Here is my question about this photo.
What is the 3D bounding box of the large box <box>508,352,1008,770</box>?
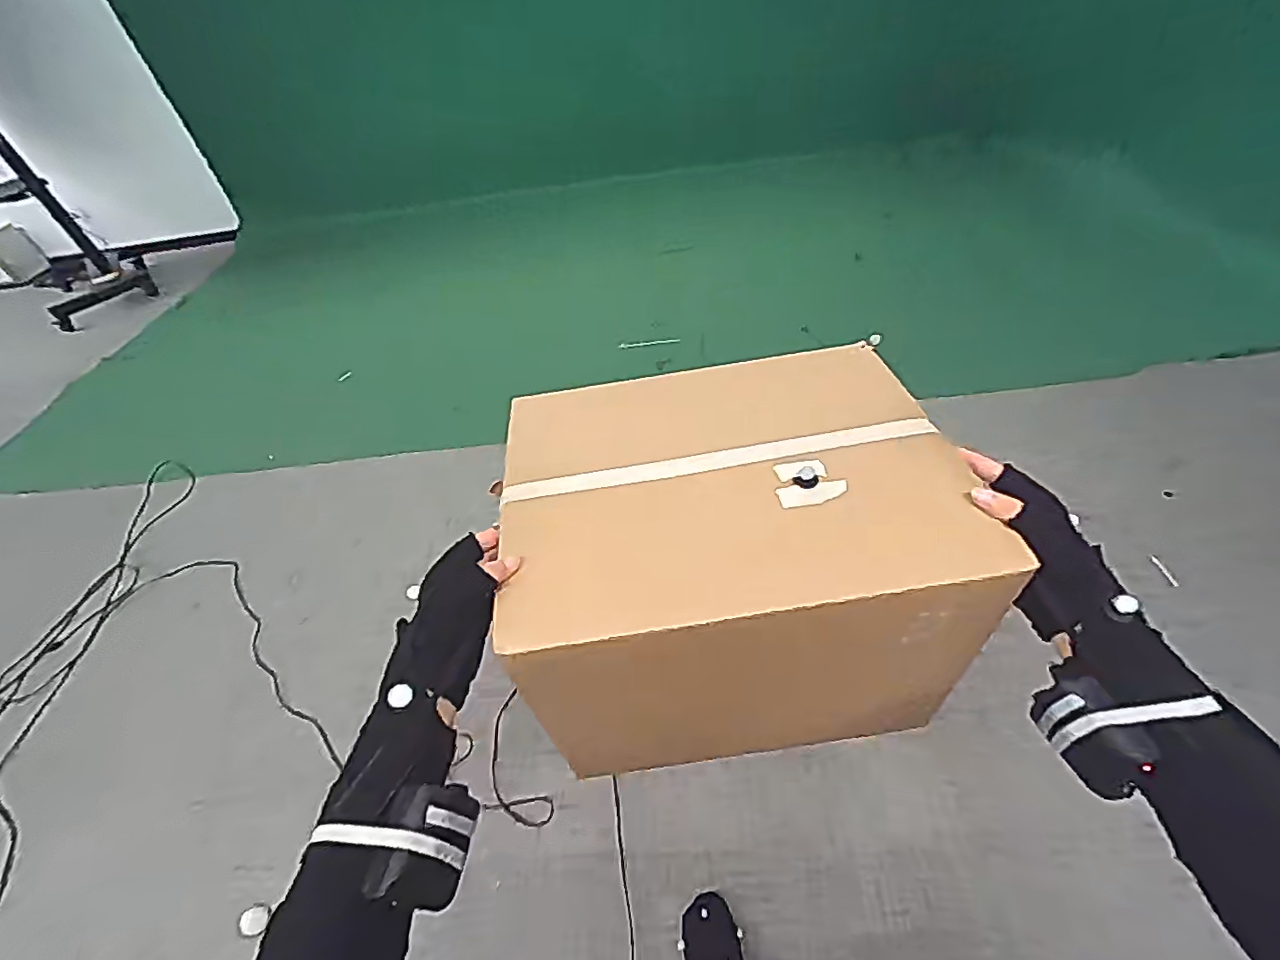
[{"bbox_3d":[0.087,0.093,0.622,0.408,0.320,0.320,-9,46,-1],"label":"large box"}]
